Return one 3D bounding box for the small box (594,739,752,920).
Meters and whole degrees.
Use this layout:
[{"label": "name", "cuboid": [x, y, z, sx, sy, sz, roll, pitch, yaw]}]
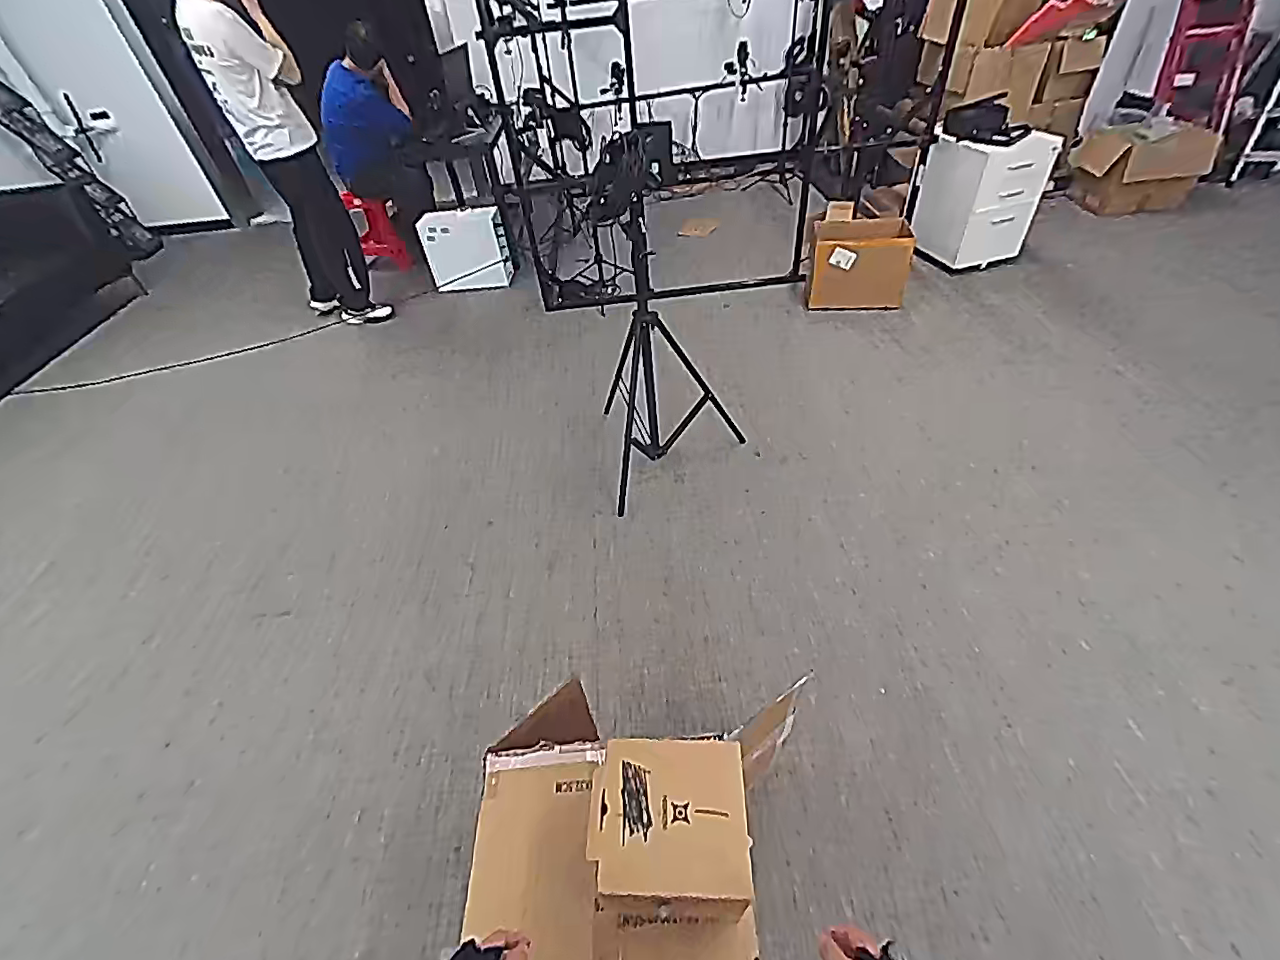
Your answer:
[{"label": "small box", "cuboid": [0.043, 0.452, 0.698, 0.179, 0.176, 0.168, 0, 45, 3]}]
